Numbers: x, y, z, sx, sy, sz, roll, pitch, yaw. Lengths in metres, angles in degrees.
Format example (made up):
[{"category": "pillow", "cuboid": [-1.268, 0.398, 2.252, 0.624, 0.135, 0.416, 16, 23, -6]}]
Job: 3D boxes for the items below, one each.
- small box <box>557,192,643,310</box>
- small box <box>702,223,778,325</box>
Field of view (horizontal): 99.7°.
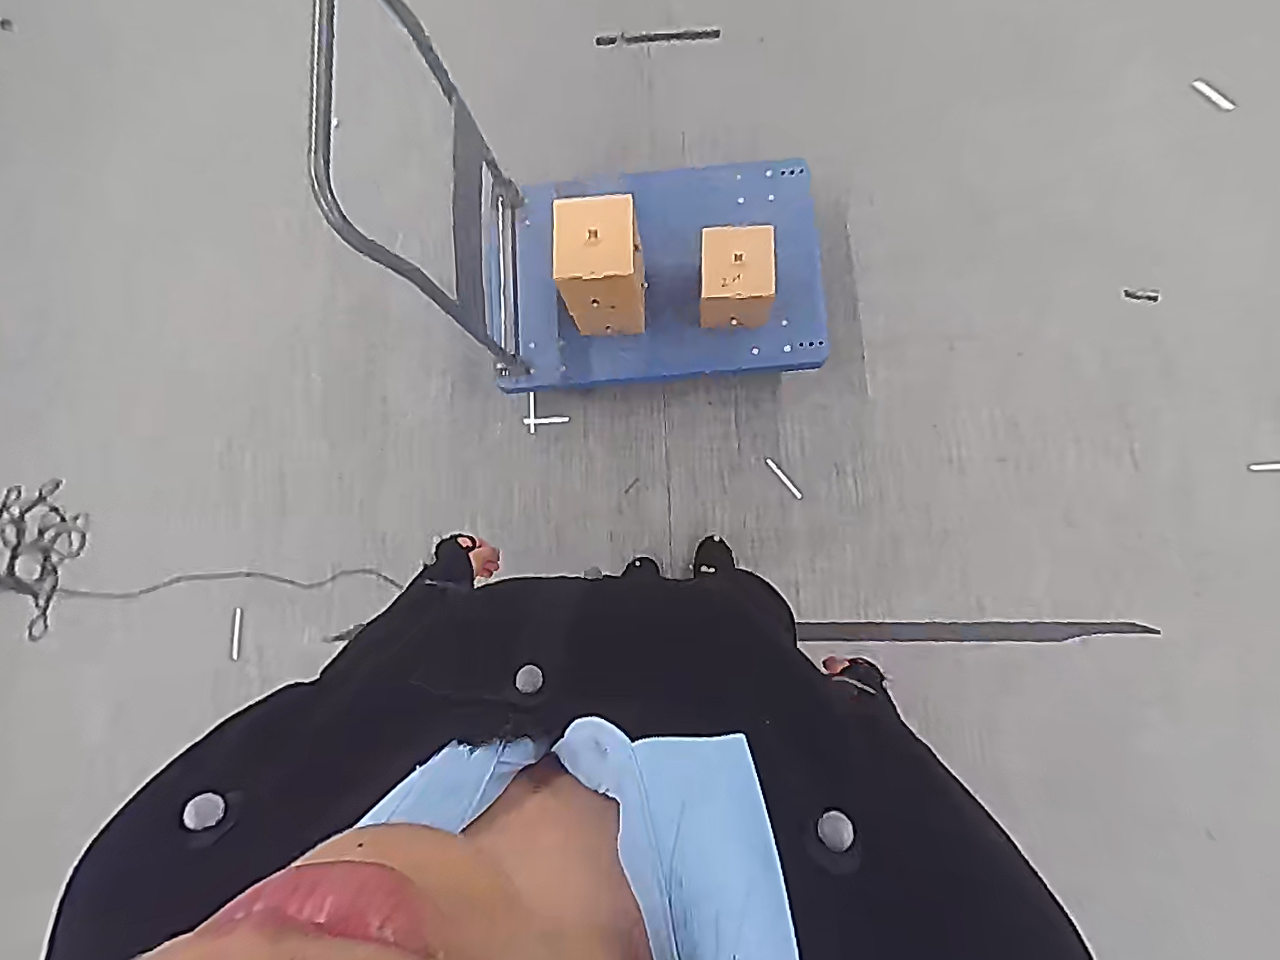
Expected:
[{"category": "small box", "cuboid": [-0.082, -0.488, 1.170, 0.168, 0.176, 0.179, -2, 83, 4]}, {"category": "small box", "cuboid": [0.236, -0.493, 1.309, 0.168, 0.176, 0.179, 0, 82, 5]}]
